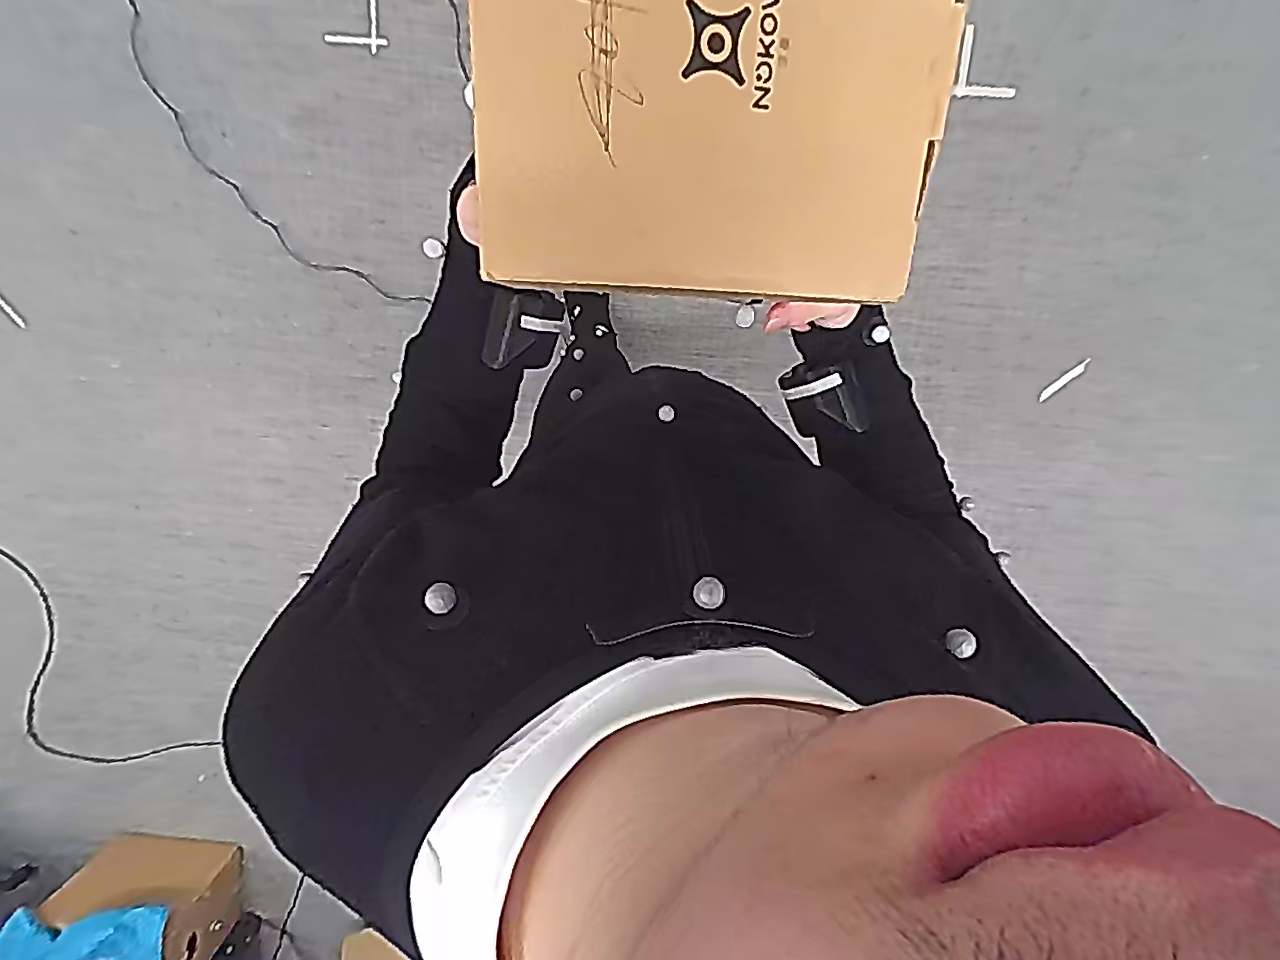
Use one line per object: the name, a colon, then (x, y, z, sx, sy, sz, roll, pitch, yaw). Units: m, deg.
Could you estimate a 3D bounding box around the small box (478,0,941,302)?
small box: (0.017, -0.182, 0.276, 0.179, 0.176, 0.168, 0, 108, -9)
